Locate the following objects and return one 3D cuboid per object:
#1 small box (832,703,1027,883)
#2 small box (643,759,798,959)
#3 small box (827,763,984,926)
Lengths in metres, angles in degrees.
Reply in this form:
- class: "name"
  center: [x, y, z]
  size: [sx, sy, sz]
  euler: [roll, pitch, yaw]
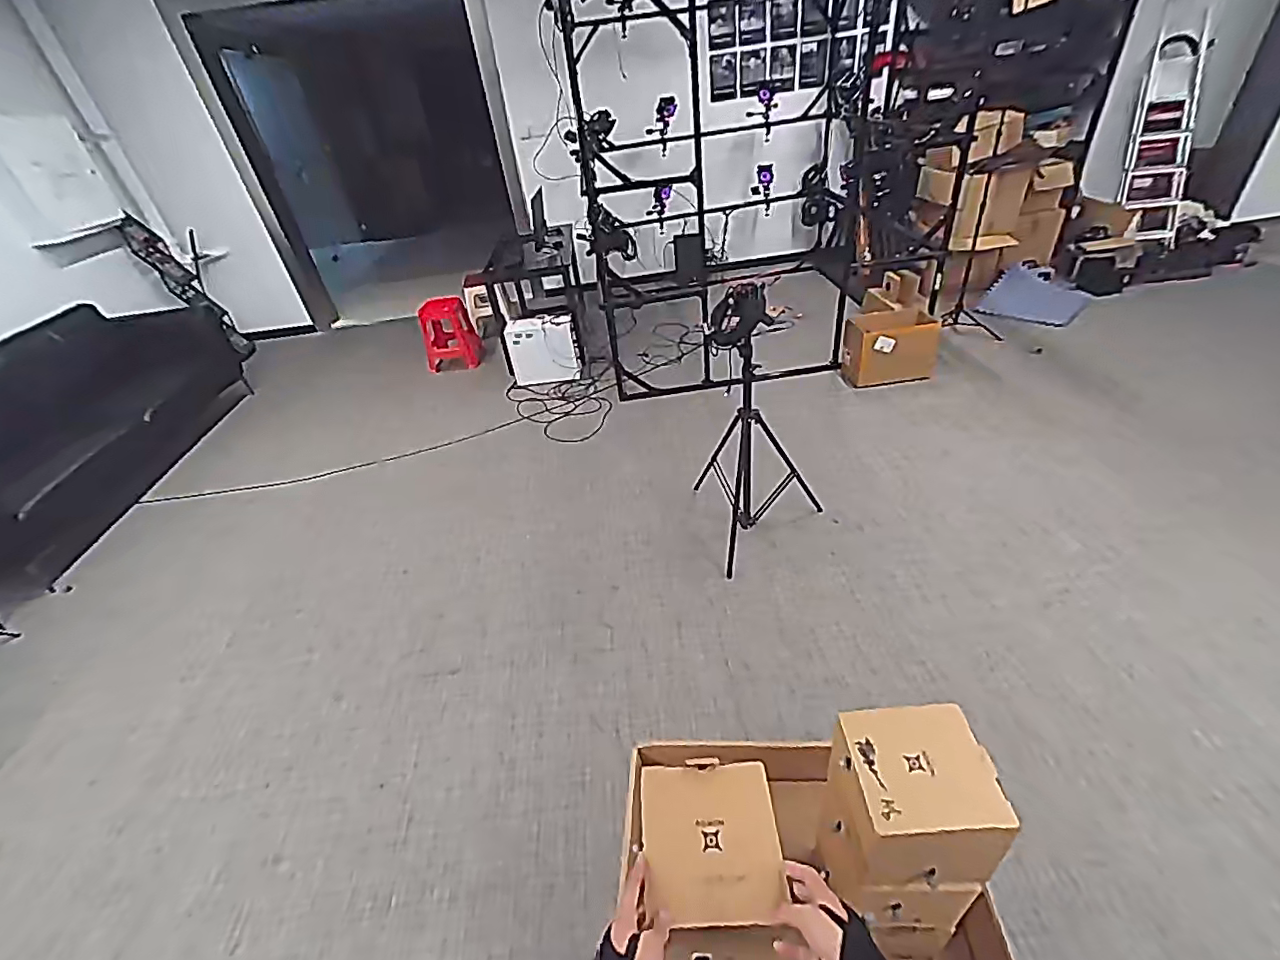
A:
- class: "small box"
  center: [0.383, 0.437, 0.756]
  size: [0.179, 0.176, 0.168]
  euler: [-5, 35, 4]
- class: "small box"
  center: [0.087, 0.487, 0.690]
  size: [0.168, 0.176, 0.179]
  euler: [-3, 37, -1]
- class: "small box"
  center: [0.401, 0.571, 0.850]
  size: [0.168, 0.176, 0.179]
  euler: [-4, 35, 6]
